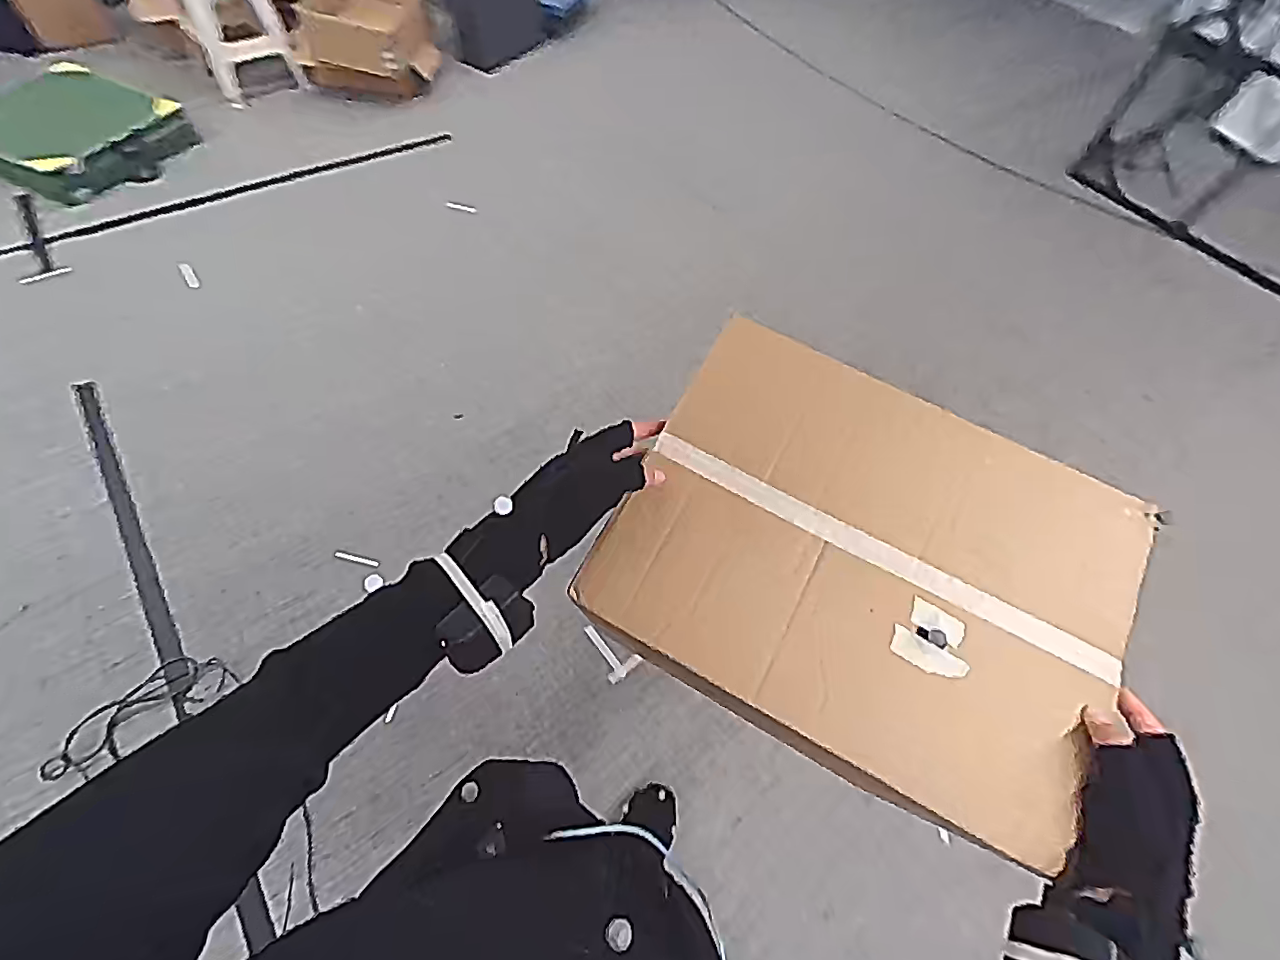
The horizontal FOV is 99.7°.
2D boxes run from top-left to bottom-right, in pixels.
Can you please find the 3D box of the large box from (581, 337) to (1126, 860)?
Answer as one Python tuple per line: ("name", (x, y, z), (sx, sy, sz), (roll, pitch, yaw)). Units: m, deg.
("large box", (0.188, 0.116, 0.606), (0.408, 0.320, 0.320), (28, 73, 9))
